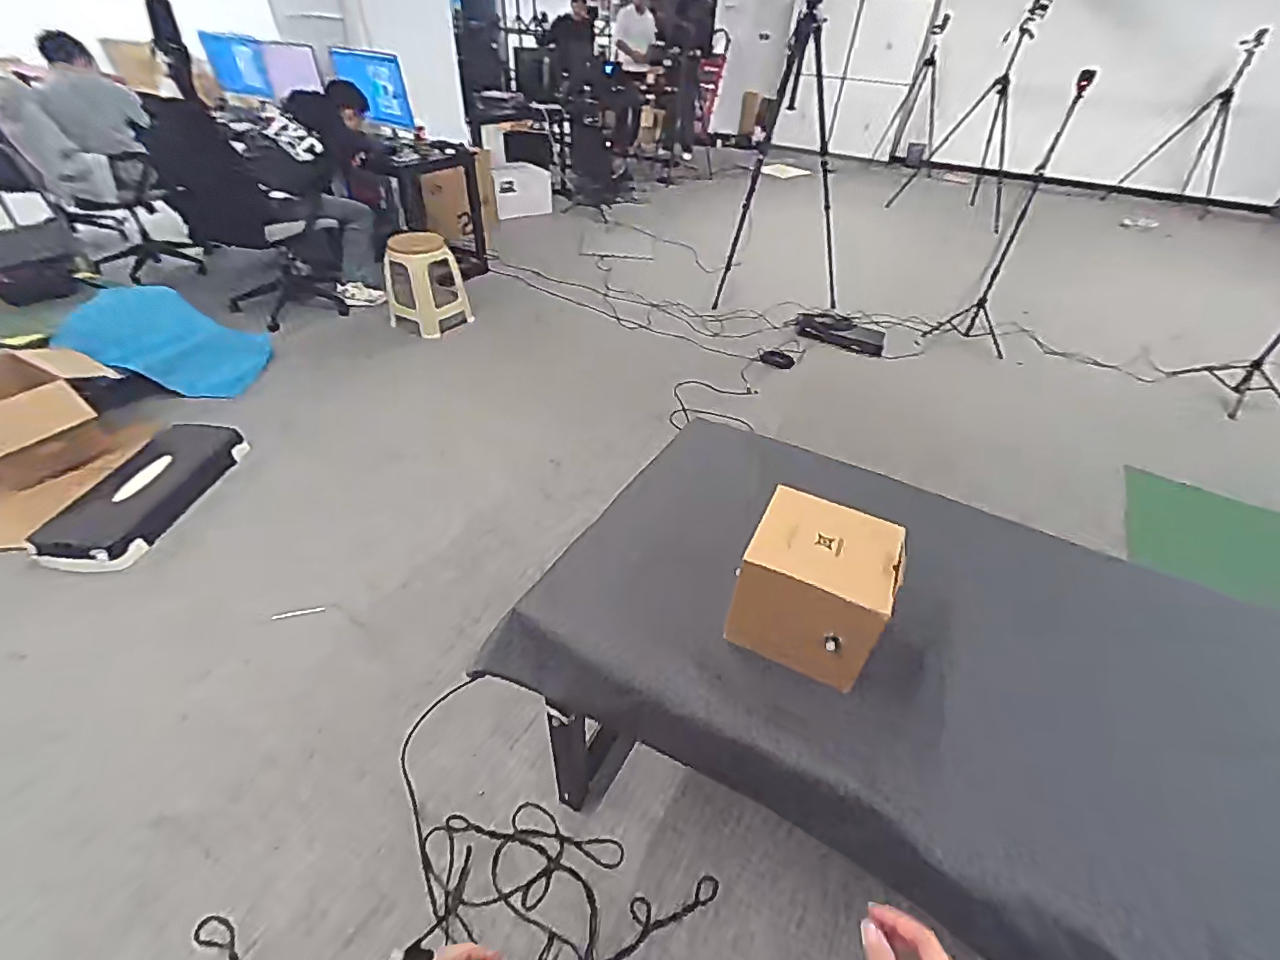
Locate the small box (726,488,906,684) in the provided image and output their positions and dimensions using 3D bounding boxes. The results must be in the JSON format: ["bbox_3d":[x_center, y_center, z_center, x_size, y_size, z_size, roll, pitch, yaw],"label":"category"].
[{"bbox_3d":[0.233,0.144,0.731,0.179,0.176,0.168,19,41,20],"label":"small box"}]
